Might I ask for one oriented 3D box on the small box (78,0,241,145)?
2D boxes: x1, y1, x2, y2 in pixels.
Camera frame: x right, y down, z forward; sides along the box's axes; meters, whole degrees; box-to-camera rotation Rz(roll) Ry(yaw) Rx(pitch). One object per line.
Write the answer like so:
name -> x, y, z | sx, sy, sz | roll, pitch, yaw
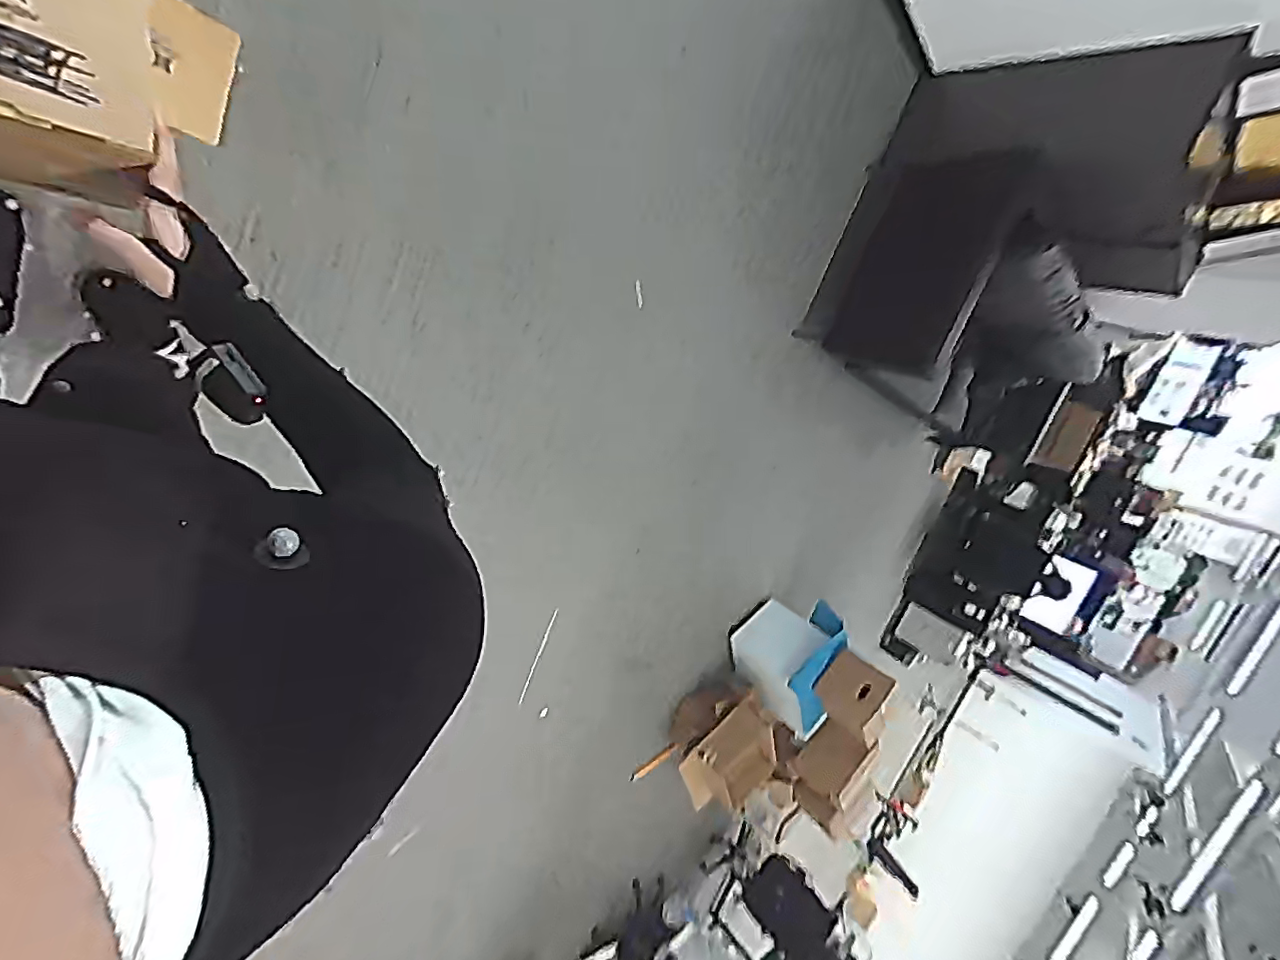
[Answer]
small box -> -0.768, -0.671, 0.872 | 0.168, 0.176, 0.179 | 10, 105, -45
